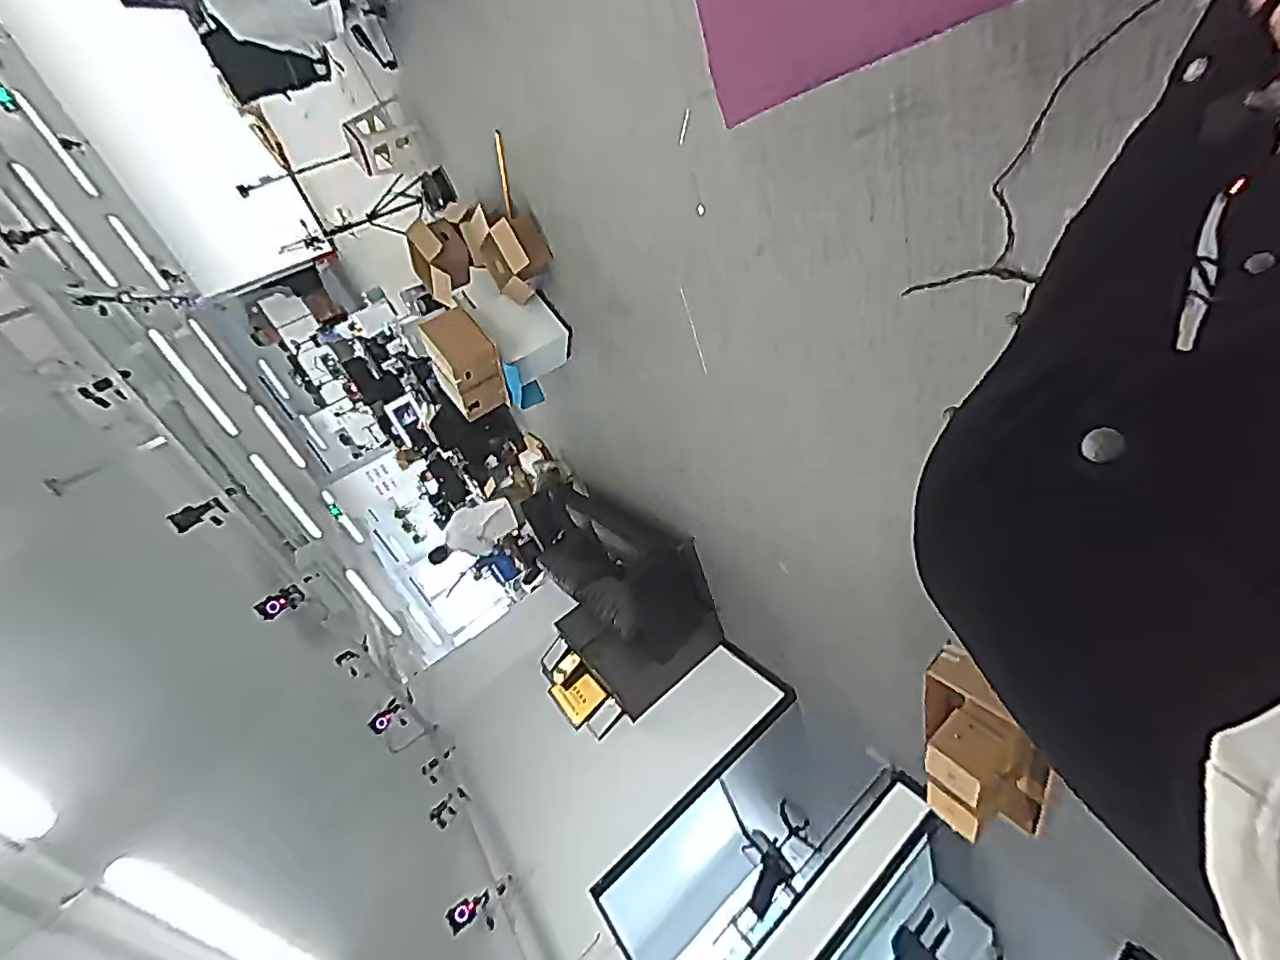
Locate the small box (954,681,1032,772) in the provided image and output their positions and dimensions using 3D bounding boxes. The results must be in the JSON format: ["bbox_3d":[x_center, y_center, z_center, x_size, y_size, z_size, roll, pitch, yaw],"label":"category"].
[{"bbox_3d":[1.143,0.794,1.759,0.168,0.176,0.179,30,148,49],"label":"small box"}]

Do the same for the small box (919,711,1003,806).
[{"bbox_3d":[1.009,0.869,1.702,0.168,0.176,0.179,33,149,47],"label":"small box"}]

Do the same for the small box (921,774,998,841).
[{"bbox_3d":[1.083,1.063,1.833,0.168,0.176,0.179,30,145,49],"label":"small box"}]
